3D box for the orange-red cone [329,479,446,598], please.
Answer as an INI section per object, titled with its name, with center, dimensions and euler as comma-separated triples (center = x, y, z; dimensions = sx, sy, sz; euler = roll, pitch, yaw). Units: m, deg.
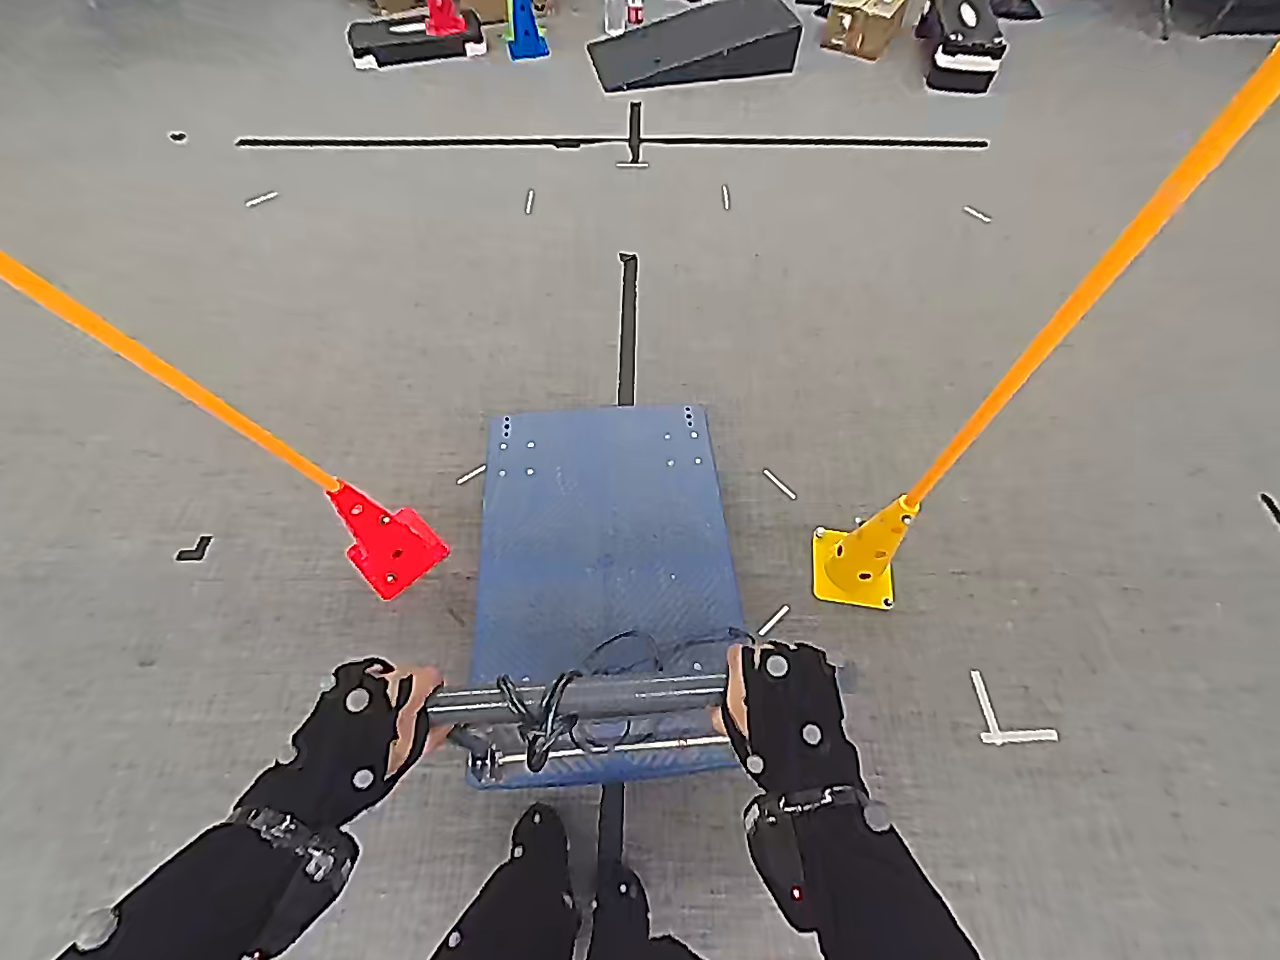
[orange-red cone]
center = -0.628, 0.100, 1.265
dimensions = 0.199, 0.360, 0.198
euler = -39, 68, -22
